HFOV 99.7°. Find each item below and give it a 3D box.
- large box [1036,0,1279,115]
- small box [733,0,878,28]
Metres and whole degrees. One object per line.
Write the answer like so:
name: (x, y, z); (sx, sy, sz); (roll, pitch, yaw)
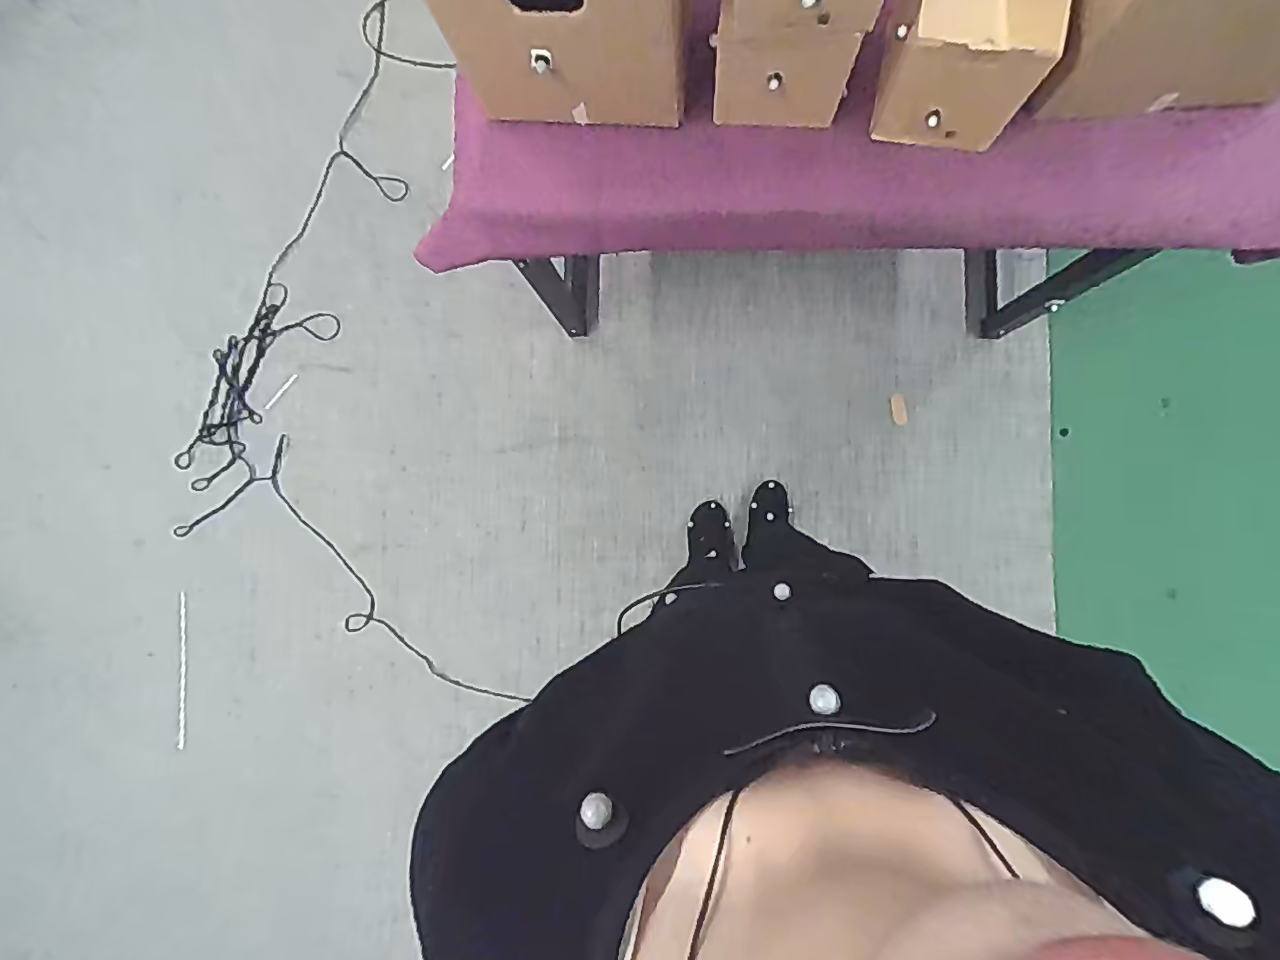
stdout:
large box: (0.697, -0.719, 0.610); (0.320, 0.320, 0.408); (1, 89, 8)
small box: (0.186, -0.626, 0.561); (0.168, 0.176, 0.179); (2, 88, 7)
